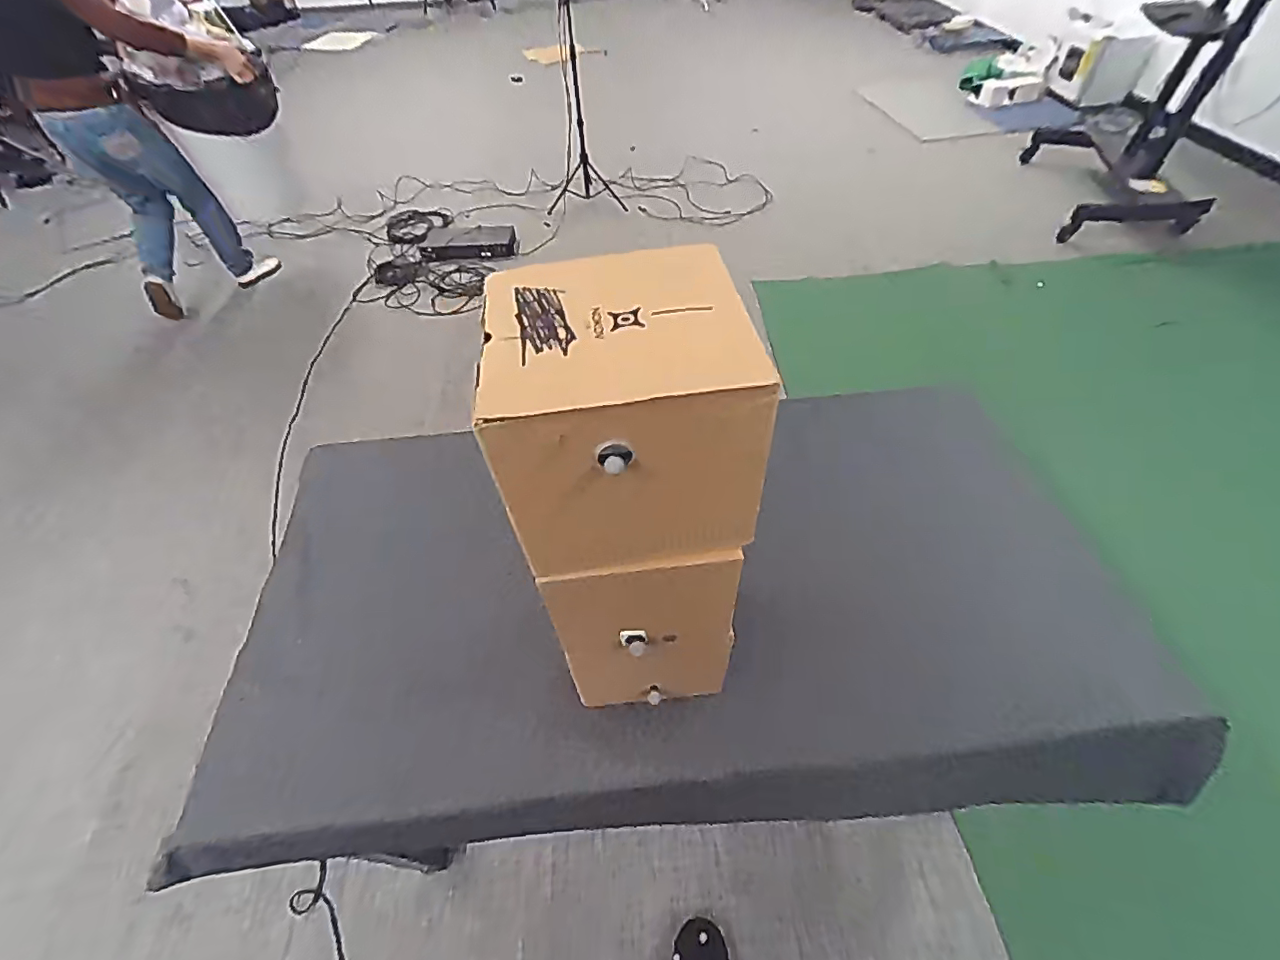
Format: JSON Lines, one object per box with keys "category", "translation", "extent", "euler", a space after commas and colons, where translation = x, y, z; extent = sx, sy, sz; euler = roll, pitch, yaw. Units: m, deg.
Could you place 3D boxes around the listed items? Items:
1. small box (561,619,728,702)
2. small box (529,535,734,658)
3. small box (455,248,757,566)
{"category": "small box", "translation": [0.001, 0.159, 0.664], "extent": [0.179, 0.176, 0.168], "euler": [-5, 50, -2]}
{"category": "small box", "translation": [-0.008, 0.056, 0.539], "extent": [0.168, 0.176, 0.179], "euler": [-7, 51, 0]}
{"category": "small box", "translation": [-0.021, -0.050, 0.414], "extent": [0.179, 0.176, 0.168], "euler": [-8, 50, -2]}
